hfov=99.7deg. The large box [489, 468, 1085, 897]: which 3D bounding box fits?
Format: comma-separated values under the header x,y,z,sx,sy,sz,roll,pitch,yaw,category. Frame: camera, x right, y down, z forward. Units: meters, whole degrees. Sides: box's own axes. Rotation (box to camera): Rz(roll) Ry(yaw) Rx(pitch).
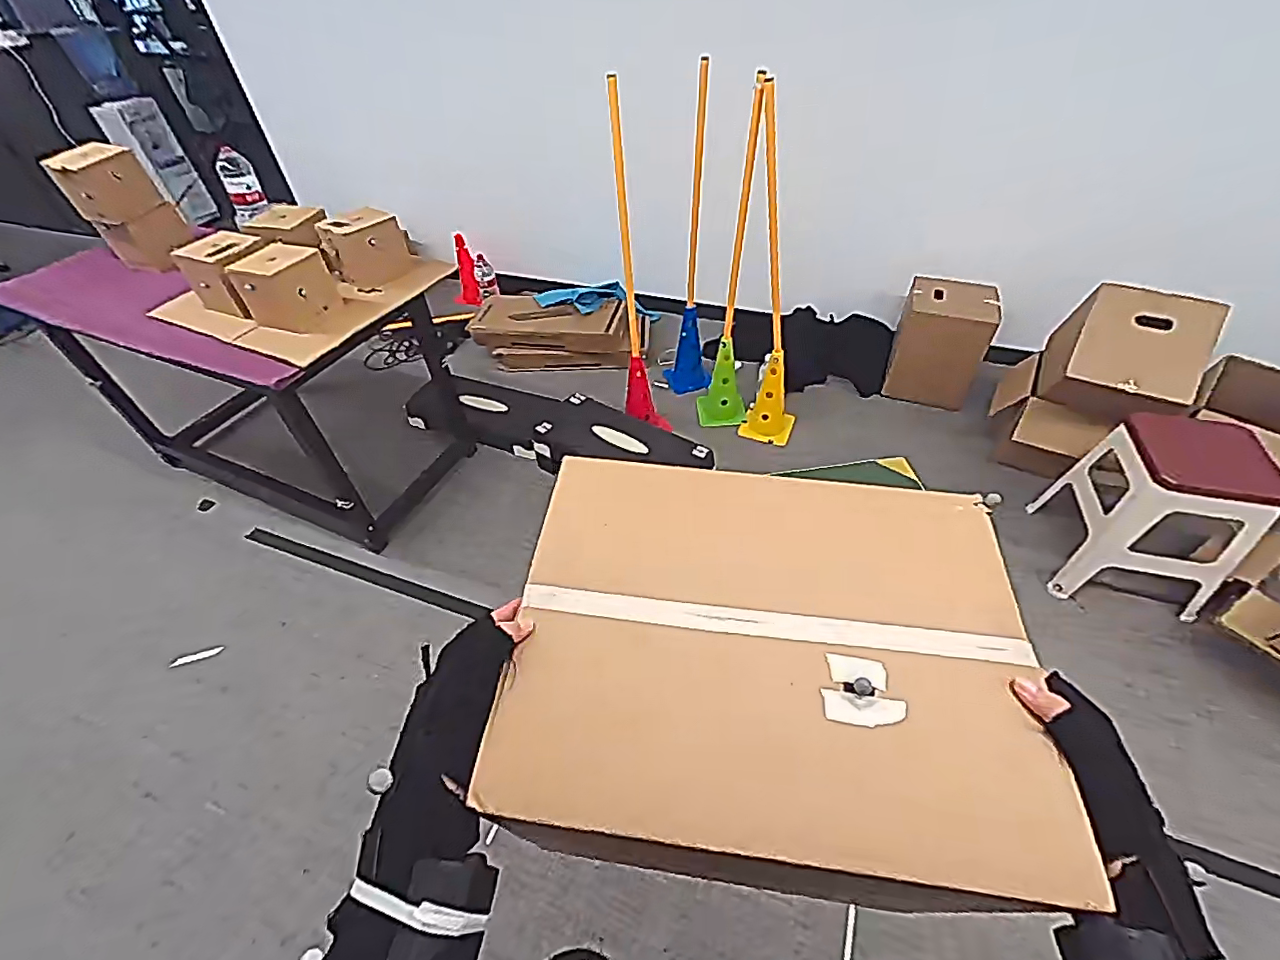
x,y,z,sx,sy,sz,roll,pitch,yaw,category
0.107,0.215,0.566,0.408,0.320,0.320,6,53,5,large box
